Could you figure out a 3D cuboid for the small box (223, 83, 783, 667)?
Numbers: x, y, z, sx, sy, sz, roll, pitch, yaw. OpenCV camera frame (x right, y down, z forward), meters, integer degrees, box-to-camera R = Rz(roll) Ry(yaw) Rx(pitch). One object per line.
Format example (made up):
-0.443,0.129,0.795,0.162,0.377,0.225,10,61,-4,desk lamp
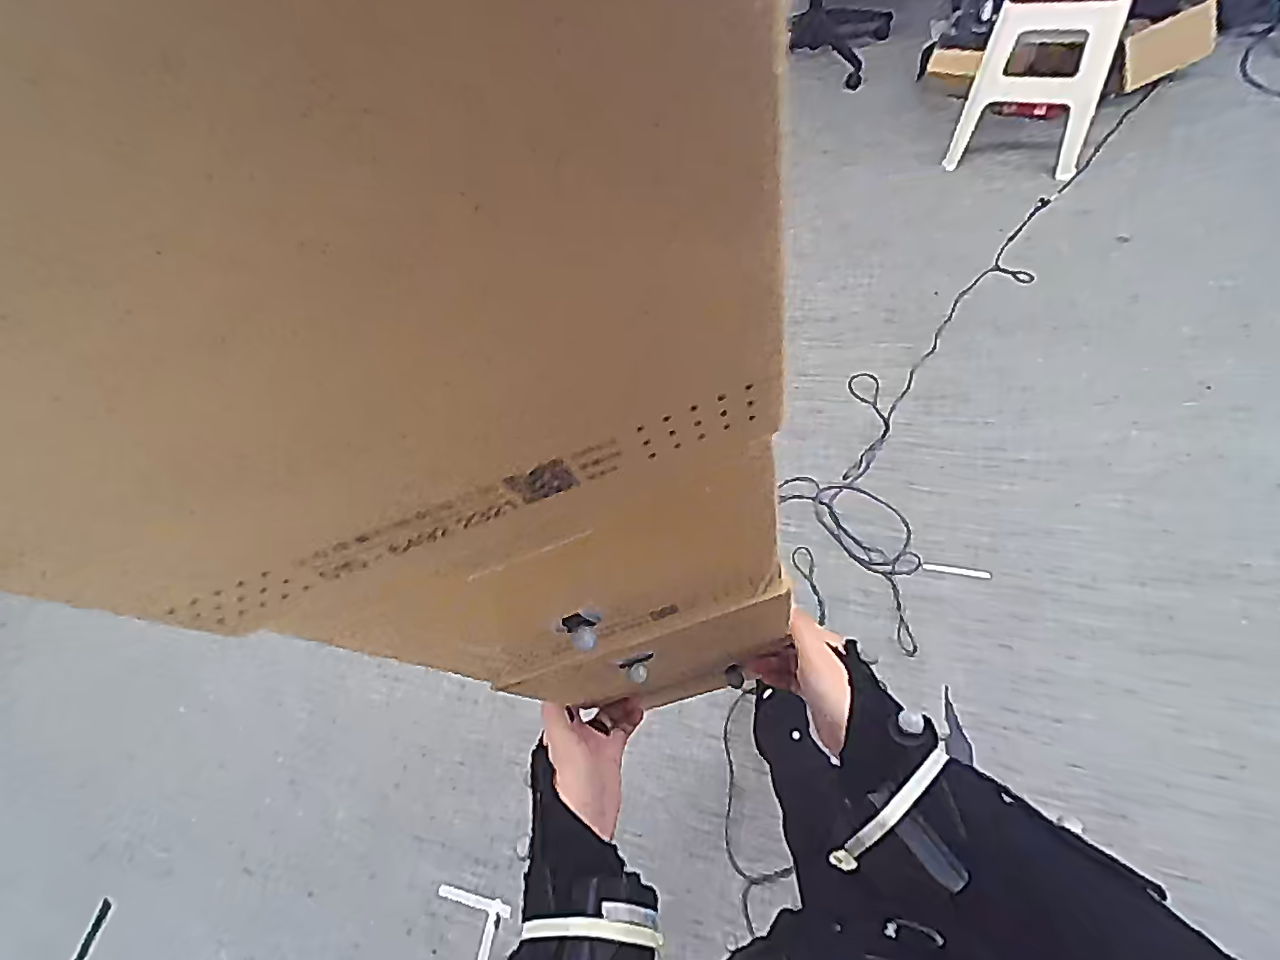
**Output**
-0.044,-0.030,0.256,0.168,0.176,0.179,-21,61,4,small box

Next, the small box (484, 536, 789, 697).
-0.002,0.047,0.393,0.179,0.176,0.168,-20,61,4,small box
